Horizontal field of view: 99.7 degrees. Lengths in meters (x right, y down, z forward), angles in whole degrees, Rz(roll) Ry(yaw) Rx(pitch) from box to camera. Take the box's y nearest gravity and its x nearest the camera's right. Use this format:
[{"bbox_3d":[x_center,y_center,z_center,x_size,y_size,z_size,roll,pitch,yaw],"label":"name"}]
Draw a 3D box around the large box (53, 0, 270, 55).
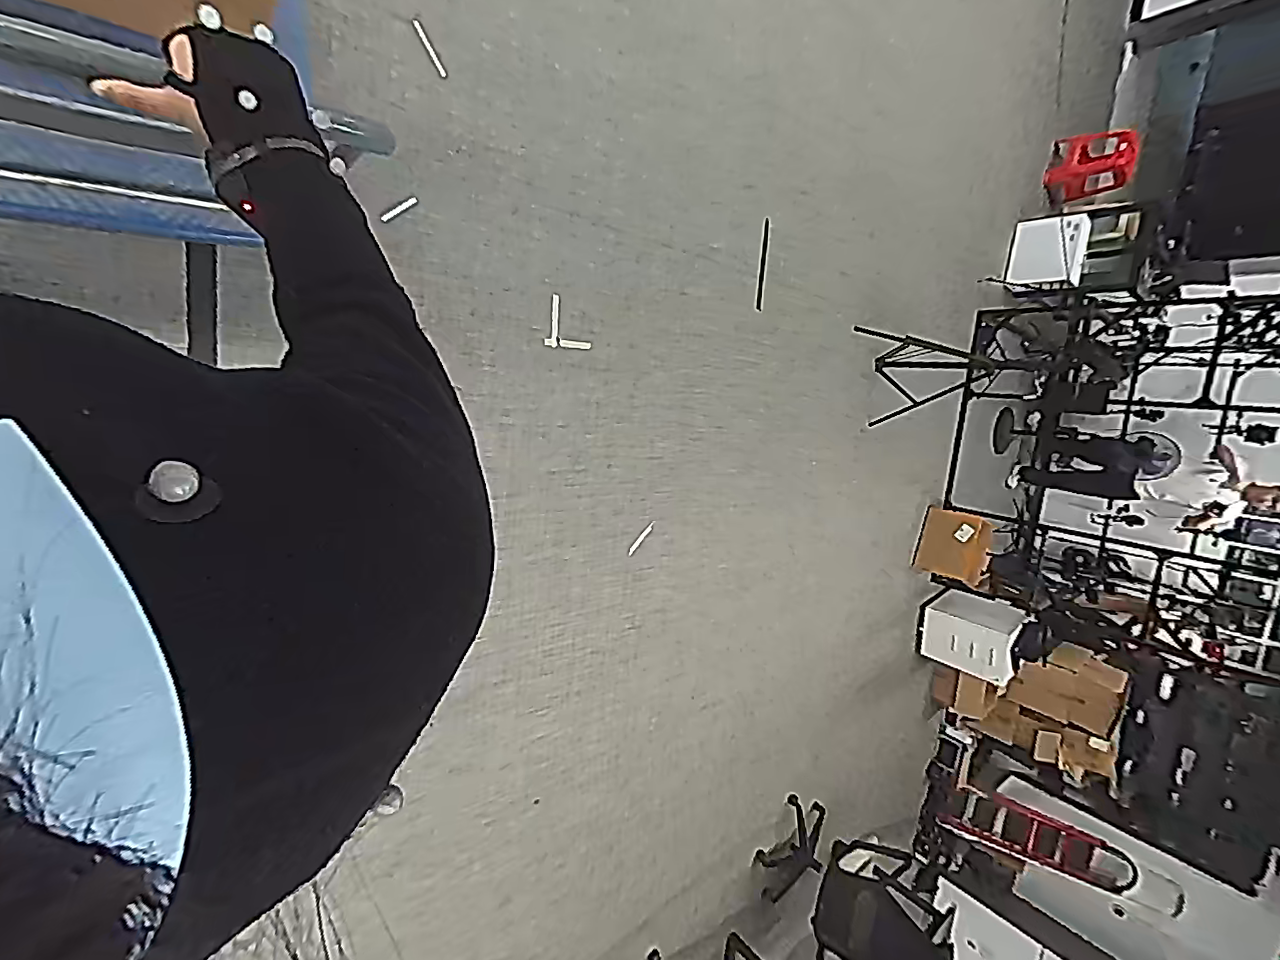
[{"bbox_3d":[-0.772,-0.875,0.737,0.408,0.320,0.320,-8,105,-38],"label":"large box"}]
